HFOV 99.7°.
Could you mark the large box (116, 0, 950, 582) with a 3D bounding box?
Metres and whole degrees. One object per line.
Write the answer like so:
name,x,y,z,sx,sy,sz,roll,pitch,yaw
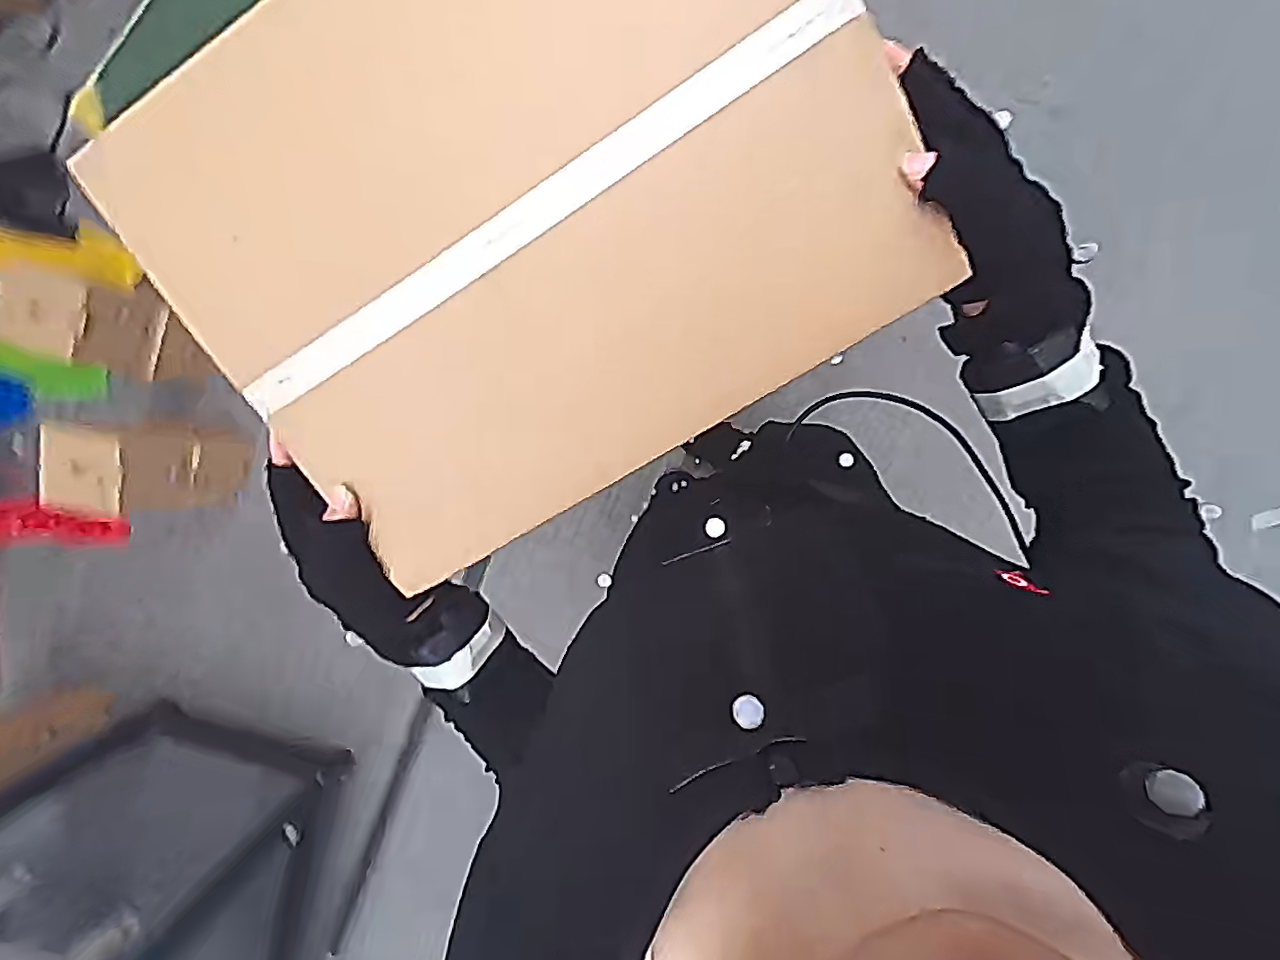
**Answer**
large box,-0.055,-0.190,0.457,0.408,0.320,0.320,-28,103,9
